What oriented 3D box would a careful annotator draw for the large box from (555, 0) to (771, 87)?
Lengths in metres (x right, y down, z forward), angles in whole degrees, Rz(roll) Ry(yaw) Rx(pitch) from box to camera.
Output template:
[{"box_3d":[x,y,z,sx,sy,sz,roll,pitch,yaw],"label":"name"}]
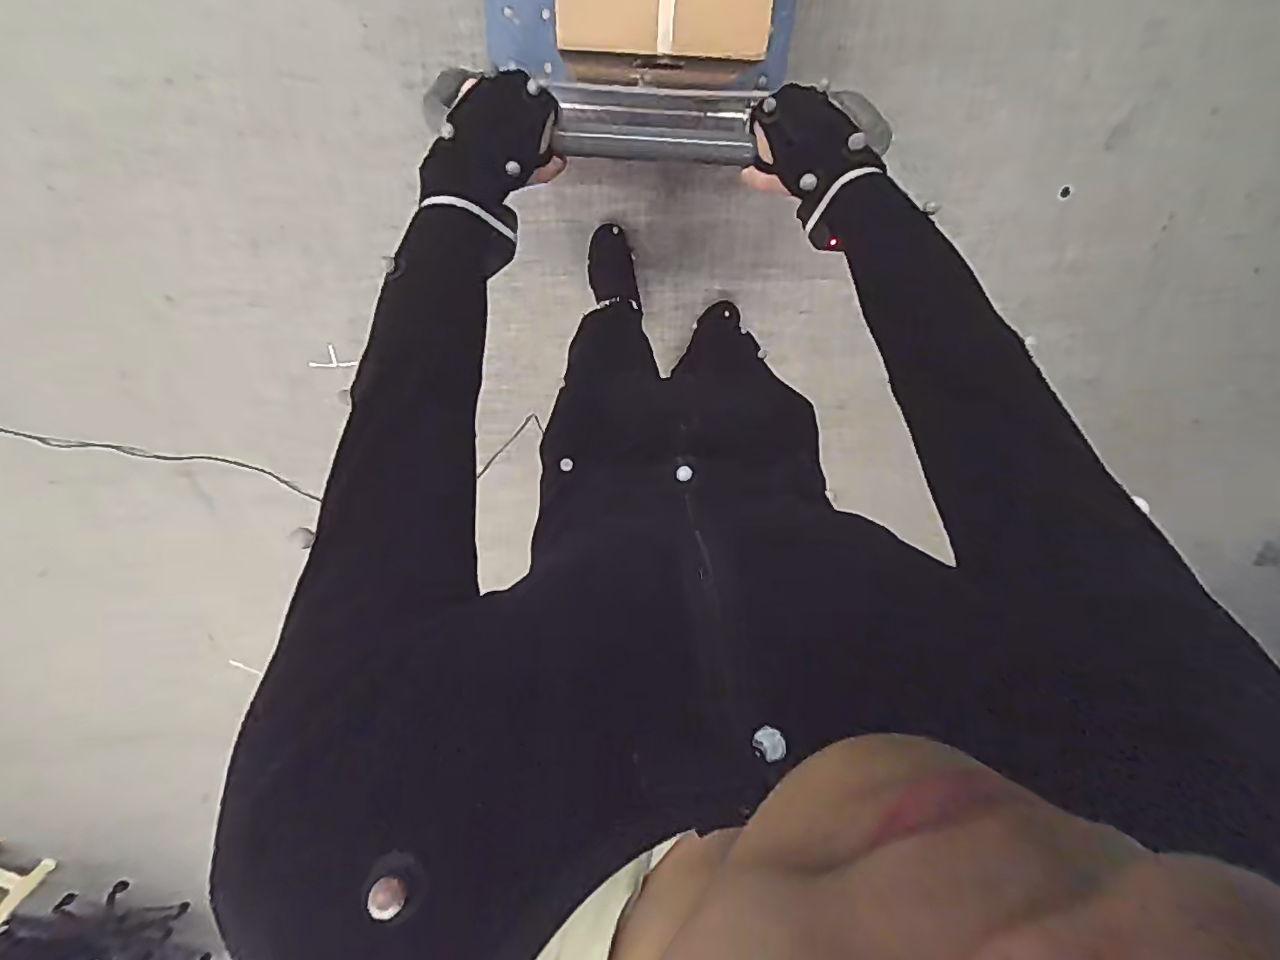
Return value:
[{"box_3d":[0.032,-0.874,0.836,0.320,0.320,0.408,1,120,-4],"label":"large box"}]
